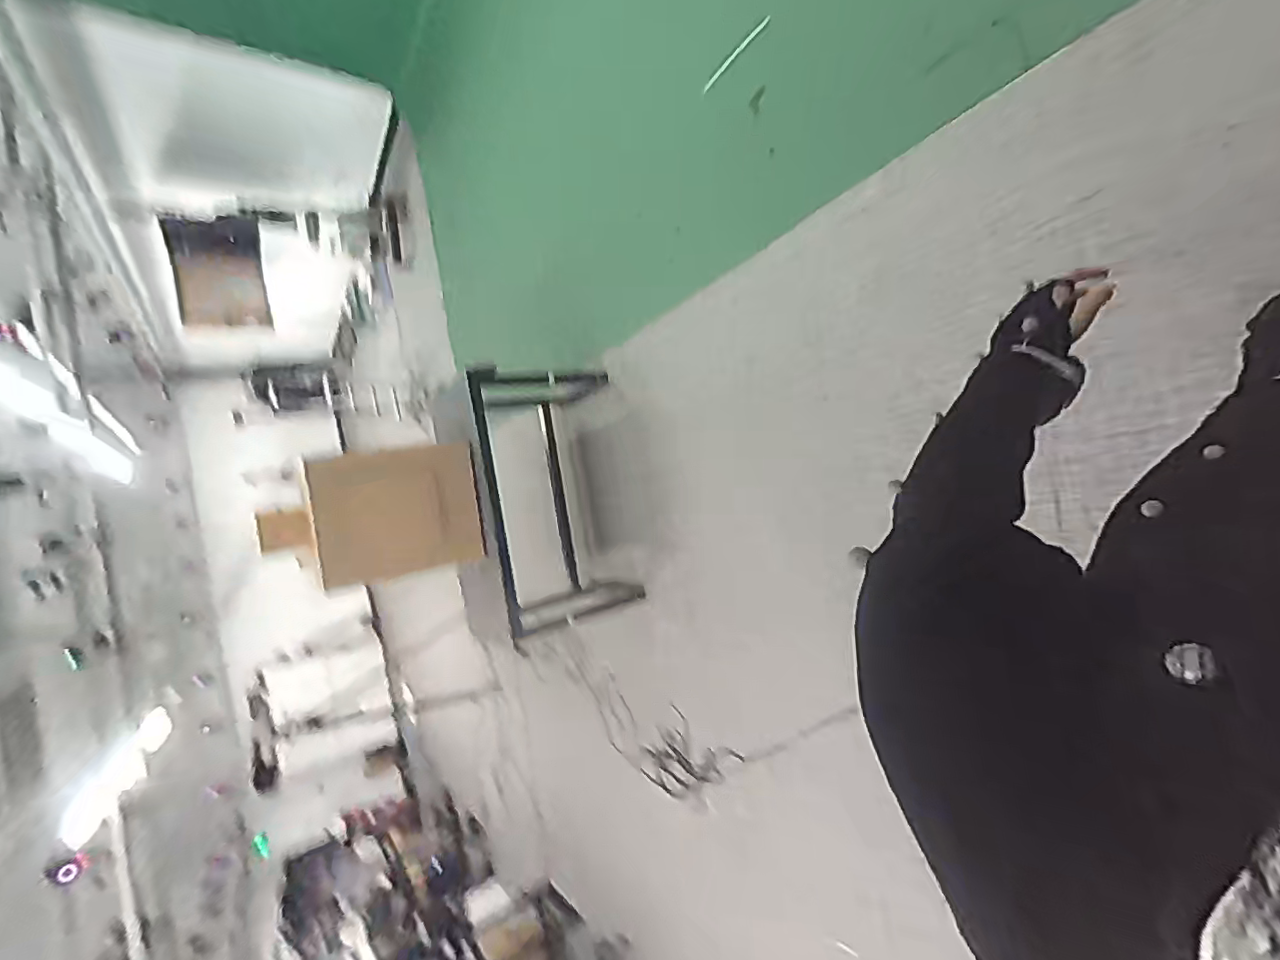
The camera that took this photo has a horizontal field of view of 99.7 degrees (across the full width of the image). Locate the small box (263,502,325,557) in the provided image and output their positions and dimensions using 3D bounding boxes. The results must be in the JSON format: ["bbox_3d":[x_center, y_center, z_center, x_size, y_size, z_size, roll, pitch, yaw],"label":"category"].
[{"bbox_3d":[-1.322,0.182,2.065,0.168,0.176,0.179,0,98,53],"label":"small box"}]
